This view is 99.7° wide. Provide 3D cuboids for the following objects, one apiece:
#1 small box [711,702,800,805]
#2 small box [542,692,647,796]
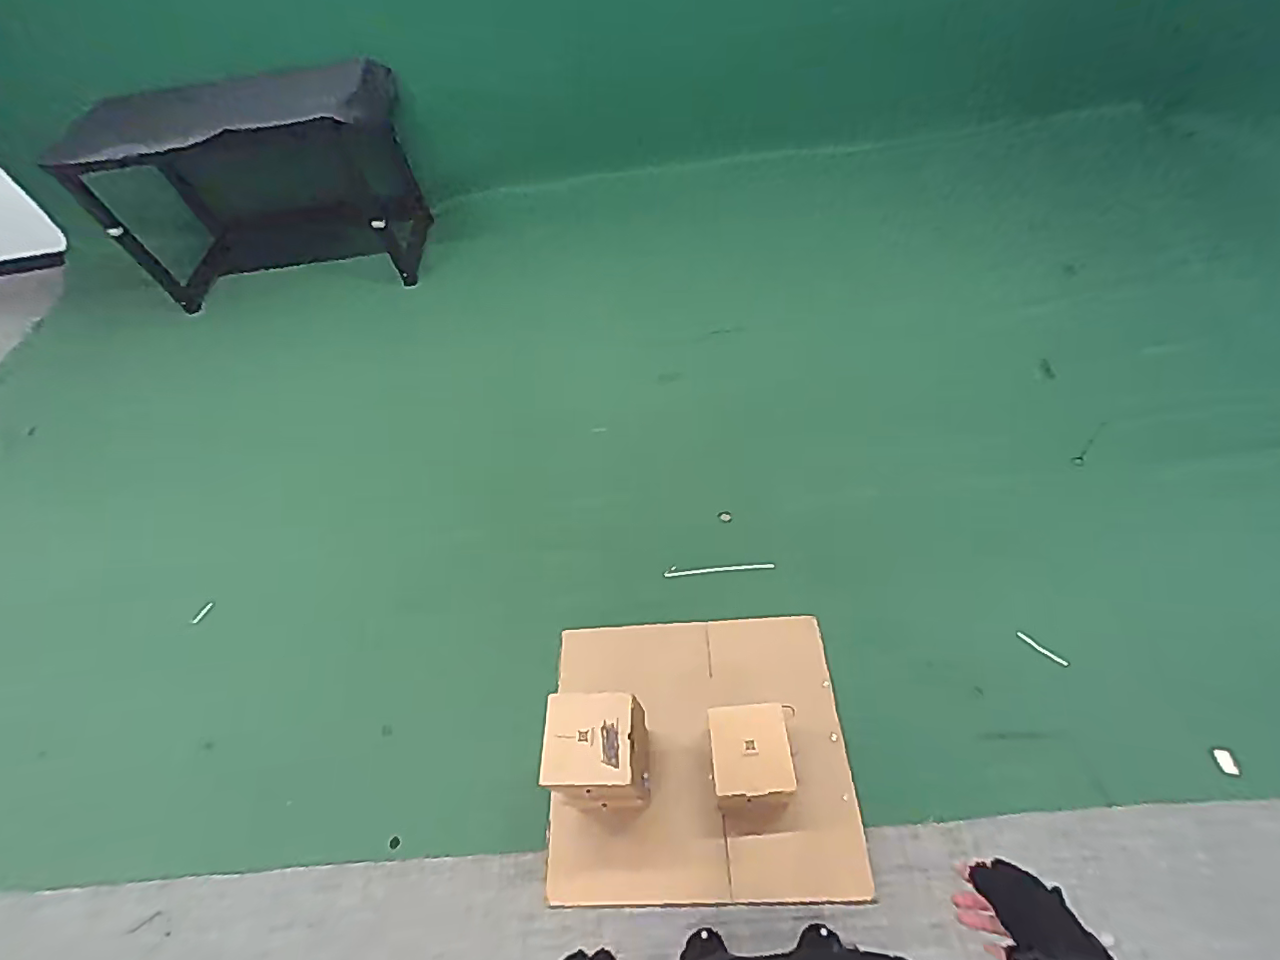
[{"bbox_3d":[0.248,0.611,1.204,0.168,0.176,0.179,-6,54,4],"label":"small box"},{"bbox_3d":[-0.082,0.538,1.099,0.179,0.176,0.168,-4,54,9],"label":"small box"}]
